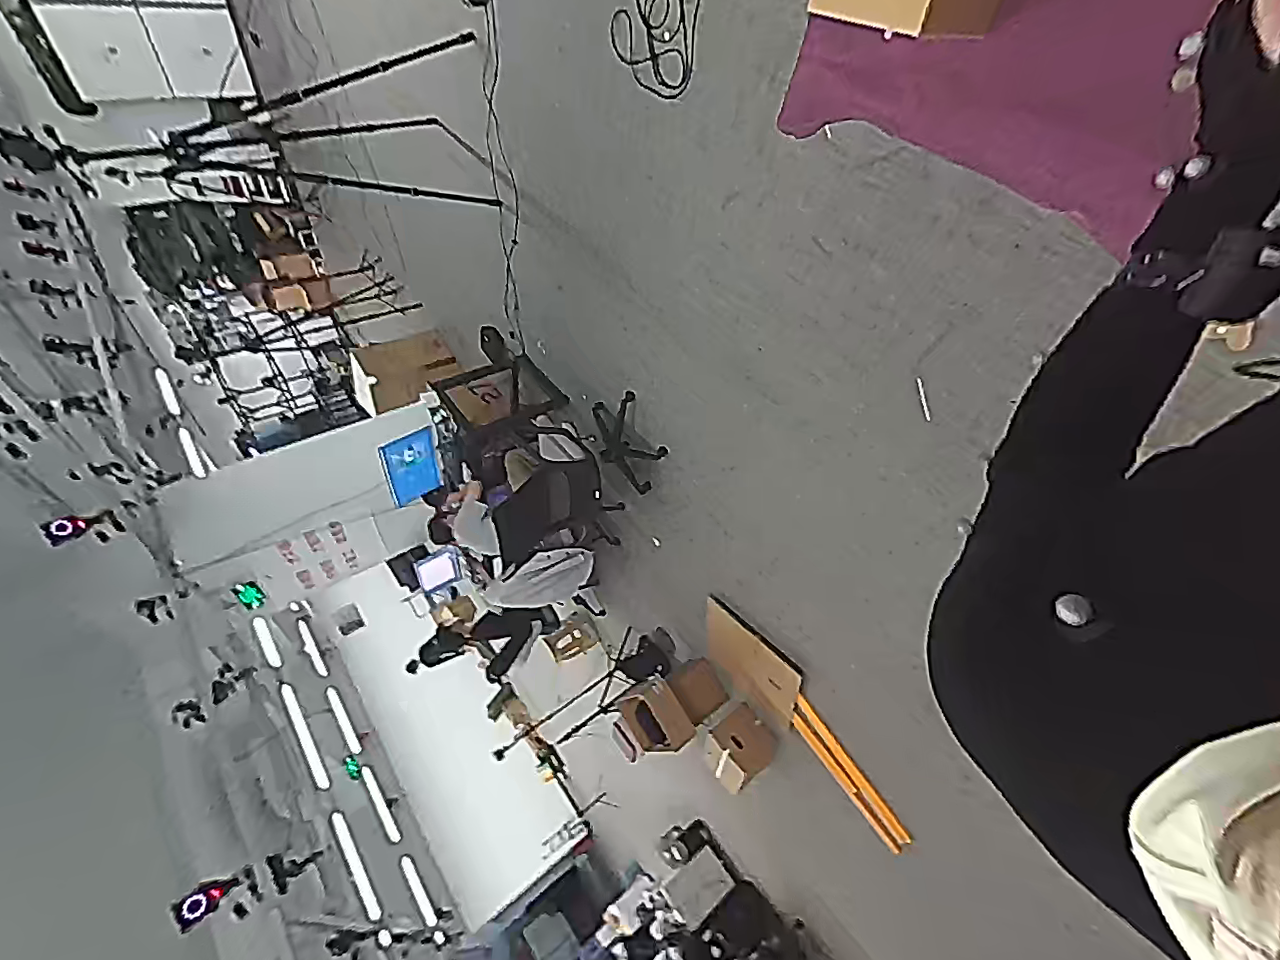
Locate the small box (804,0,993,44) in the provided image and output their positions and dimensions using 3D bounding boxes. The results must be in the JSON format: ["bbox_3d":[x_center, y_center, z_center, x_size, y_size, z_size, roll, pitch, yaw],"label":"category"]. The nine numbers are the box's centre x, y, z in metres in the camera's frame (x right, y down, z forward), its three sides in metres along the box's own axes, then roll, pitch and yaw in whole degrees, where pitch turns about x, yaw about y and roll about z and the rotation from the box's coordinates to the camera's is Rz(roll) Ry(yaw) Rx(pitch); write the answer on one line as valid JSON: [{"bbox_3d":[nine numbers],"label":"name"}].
[{"bbox_3d":[0.331,-0.641,0.633,0.168,0.176,0.179,44,146,29],"label":"small box"}]
